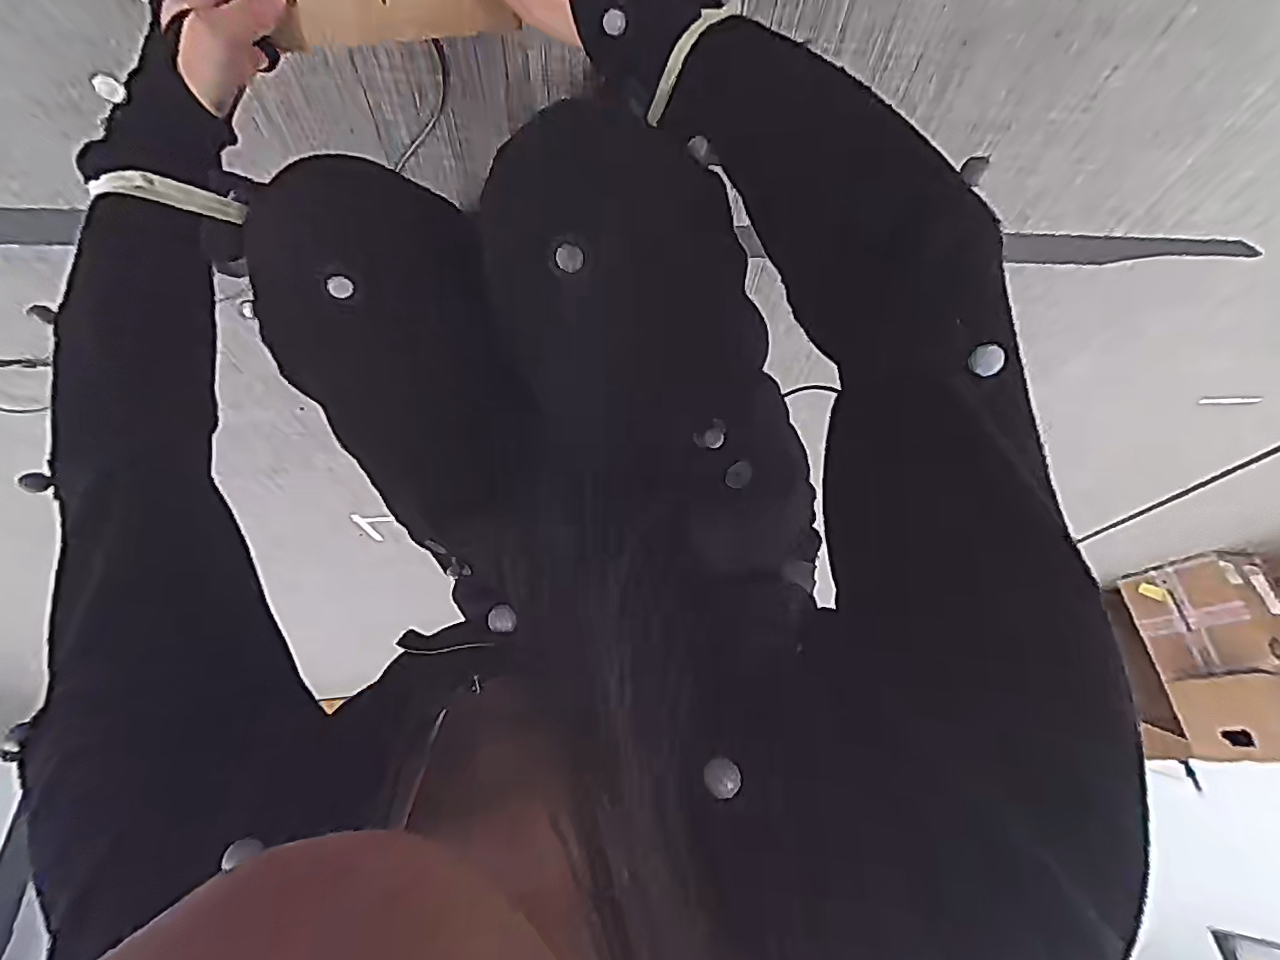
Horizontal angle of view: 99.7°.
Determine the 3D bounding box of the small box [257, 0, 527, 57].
[{"bbox_3d":[-0.169,-0.407,0.329,0.168,0.176,0.179,-5,154,0],"label":"small box"}]
